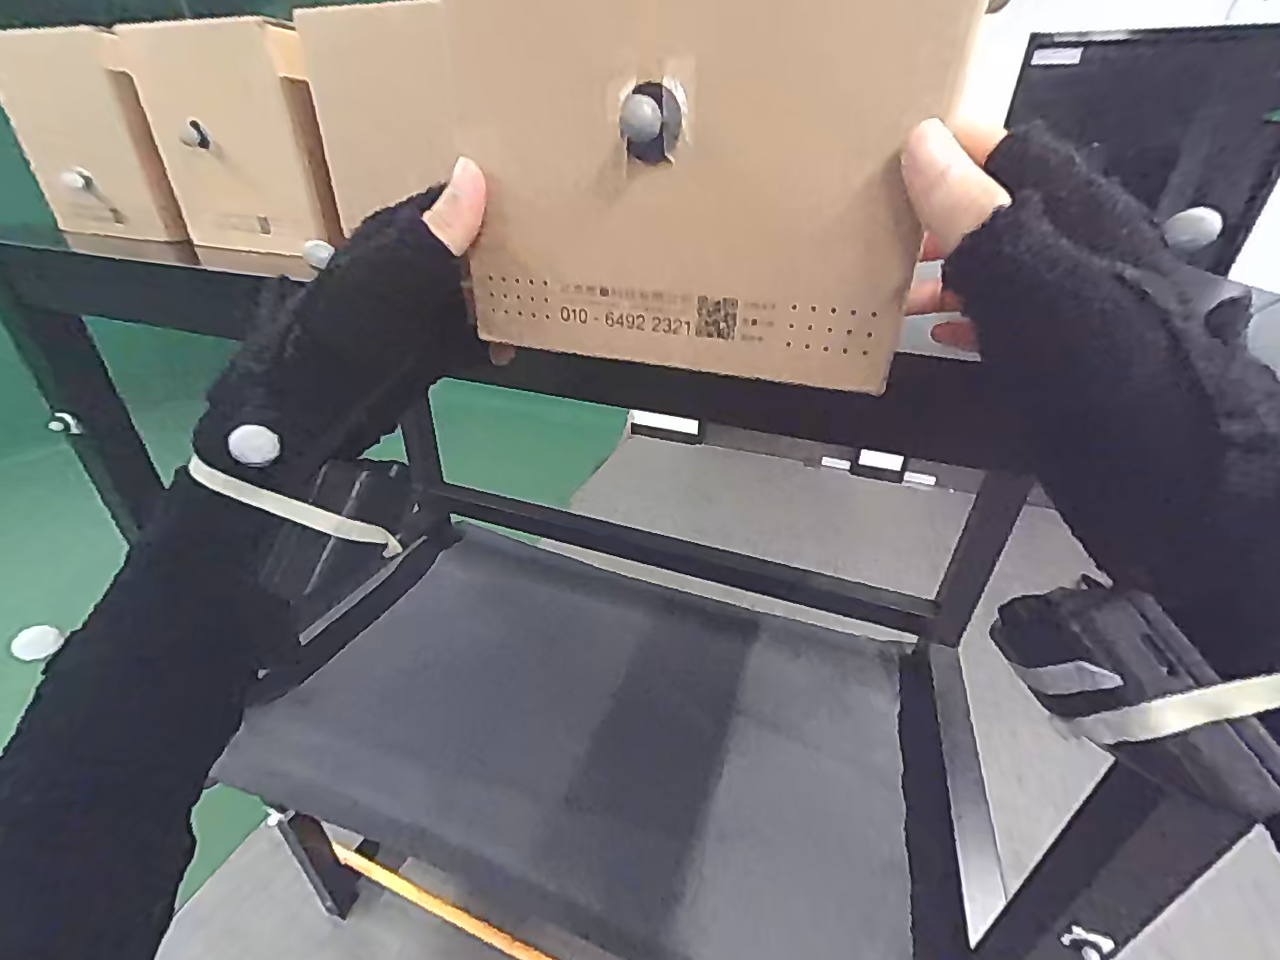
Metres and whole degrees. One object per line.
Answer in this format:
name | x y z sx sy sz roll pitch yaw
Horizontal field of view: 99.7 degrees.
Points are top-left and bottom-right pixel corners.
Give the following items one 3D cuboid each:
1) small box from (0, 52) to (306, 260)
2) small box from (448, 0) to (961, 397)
small box | -0.504 -0.347 0.591 0.168 0.176 0.179 11 32 17
small box | 0.038 -0.148 0.249 0.168 0.176 0.179 12 30 17
